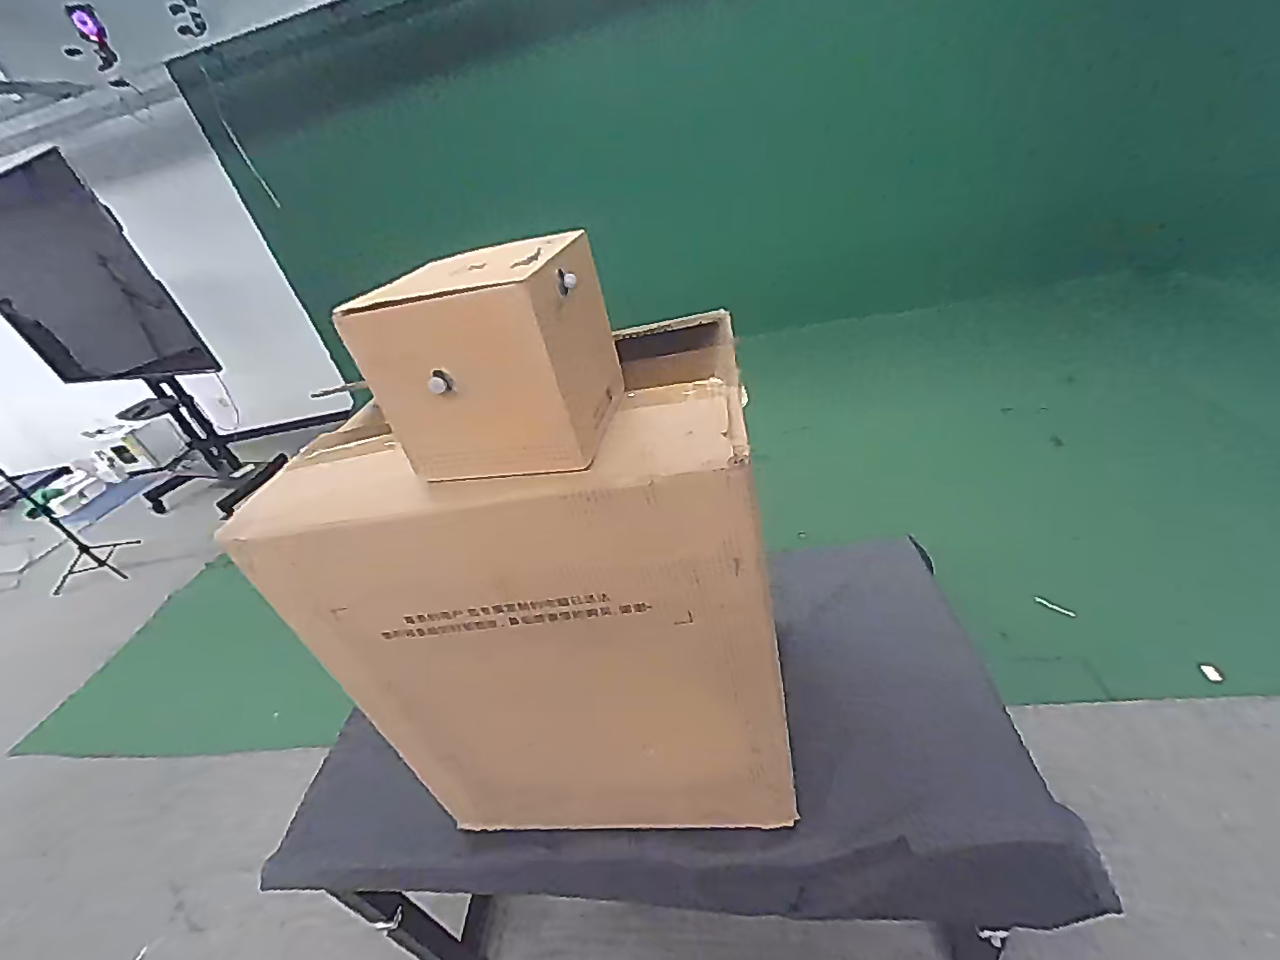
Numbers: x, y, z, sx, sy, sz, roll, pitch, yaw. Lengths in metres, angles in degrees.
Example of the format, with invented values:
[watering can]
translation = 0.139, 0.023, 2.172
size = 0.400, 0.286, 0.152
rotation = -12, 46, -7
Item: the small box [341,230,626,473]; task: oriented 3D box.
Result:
[small box]
translation = -0.129, -0.119, 0.520
size = 0.179, 0.176, 0.168
rotation = -4, 35, 17
